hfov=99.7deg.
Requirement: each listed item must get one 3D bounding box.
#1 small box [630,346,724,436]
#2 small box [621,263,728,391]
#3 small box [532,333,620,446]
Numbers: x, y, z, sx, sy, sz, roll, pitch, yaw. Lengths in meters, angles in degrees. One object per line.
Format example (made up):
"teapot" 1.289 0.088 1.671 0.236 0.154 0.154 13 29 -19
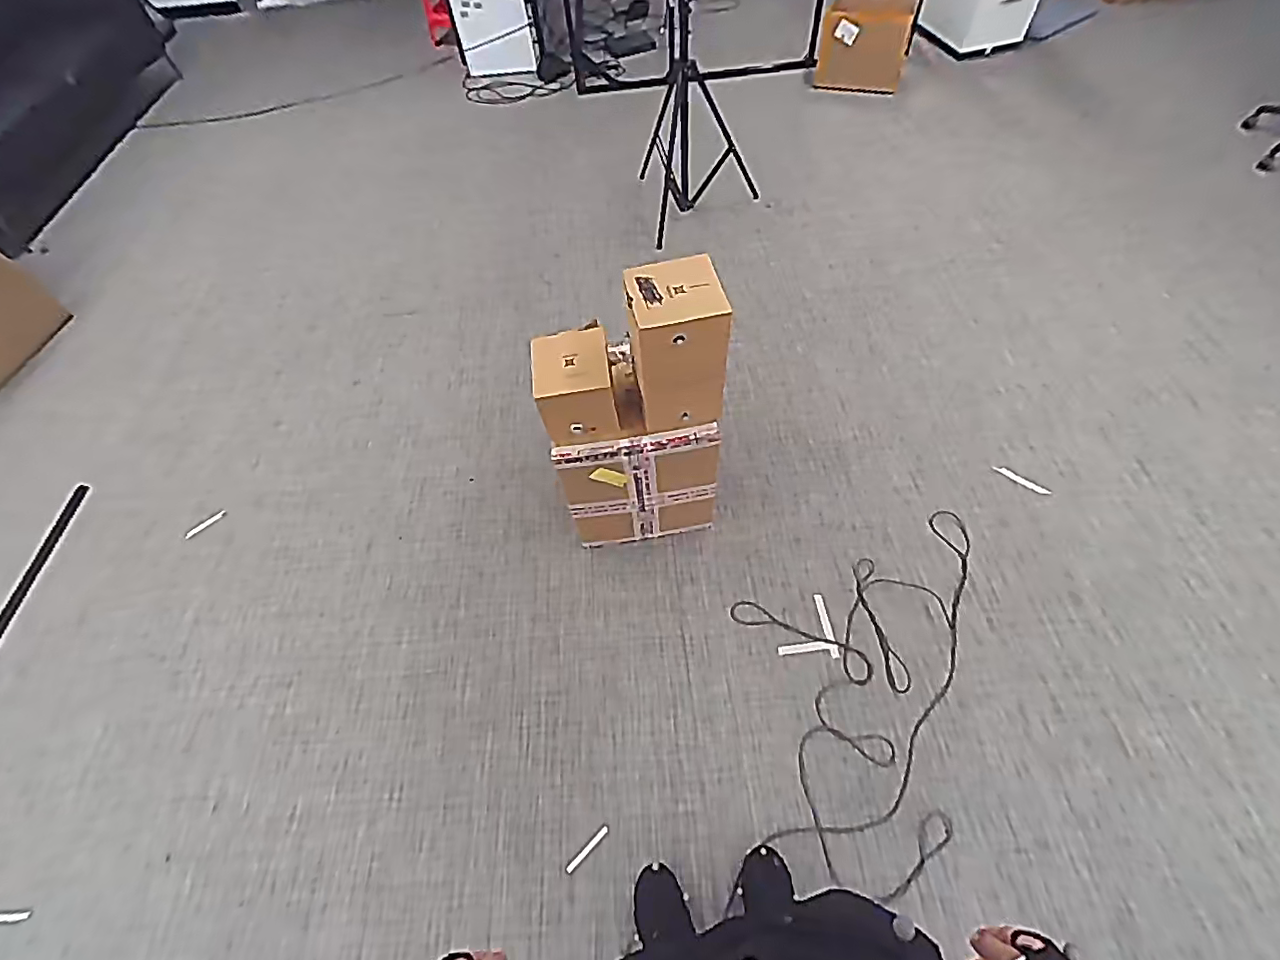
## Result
"small box" 0.078 -0.223 1.229 0.179 0.176 0.168 -12 60 -4
"small box" 0.067 -0.300 1.083 0.179 0.176 0.168 -12 61 -3
"small box" -0.144 -0.203 1.234 0.168 0.176 0.179 -10 61 1
